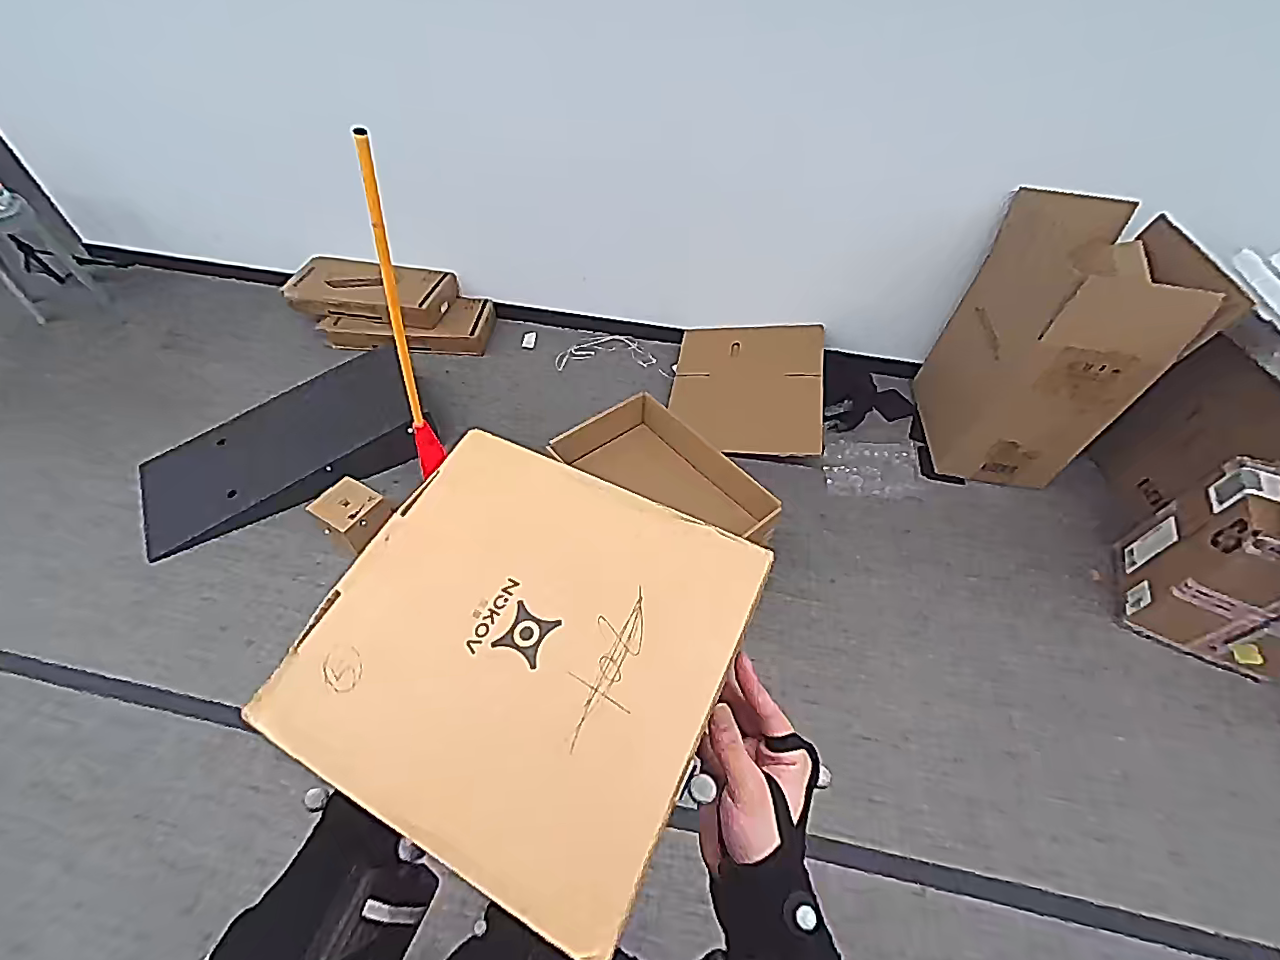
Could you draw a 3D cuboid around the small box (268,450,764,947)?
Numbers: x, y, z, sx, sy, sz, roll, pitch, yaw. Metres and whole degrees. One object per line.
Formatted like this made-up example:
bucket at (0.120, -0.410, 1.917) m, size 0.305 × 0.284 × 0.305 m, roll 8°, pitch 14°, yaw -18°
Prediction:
small box at (-0.048, 0.116, 0.315) m, size 0.179 × 0.176 × 0.168 m, roll 21°, pitch 63°, yaw 16°
